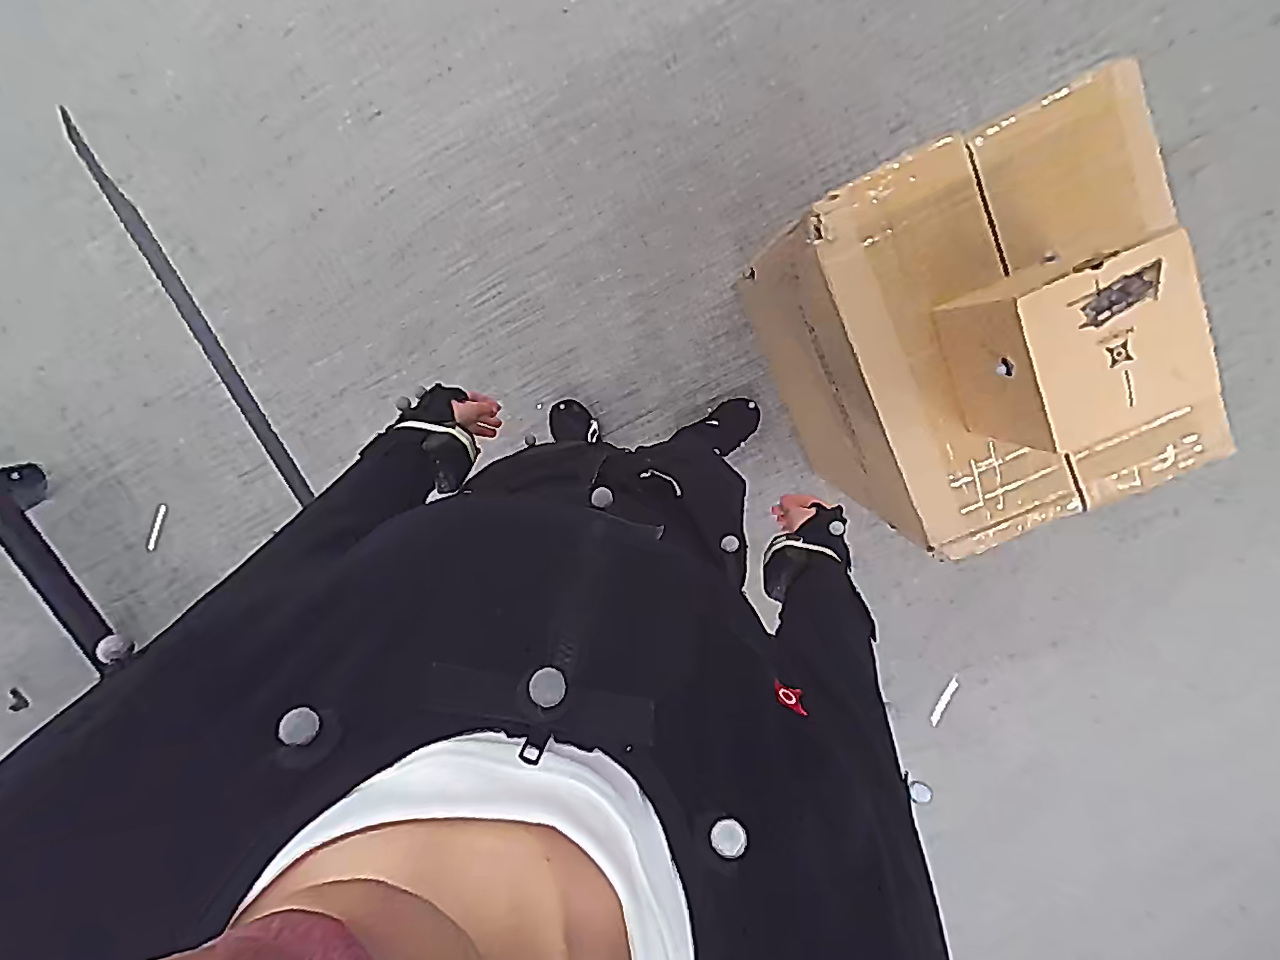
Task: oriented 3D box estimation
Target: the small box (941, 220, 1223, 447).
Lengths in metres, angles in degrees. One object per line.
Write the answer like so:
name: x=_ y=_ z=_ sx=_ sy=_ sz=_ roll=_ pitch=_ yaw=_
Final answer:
small box: x=0.478 y=-0.157 z=0.613 sx=0.168 sy=0.176 sz=0.179 roll=-23 pitch=101 yaw=7
